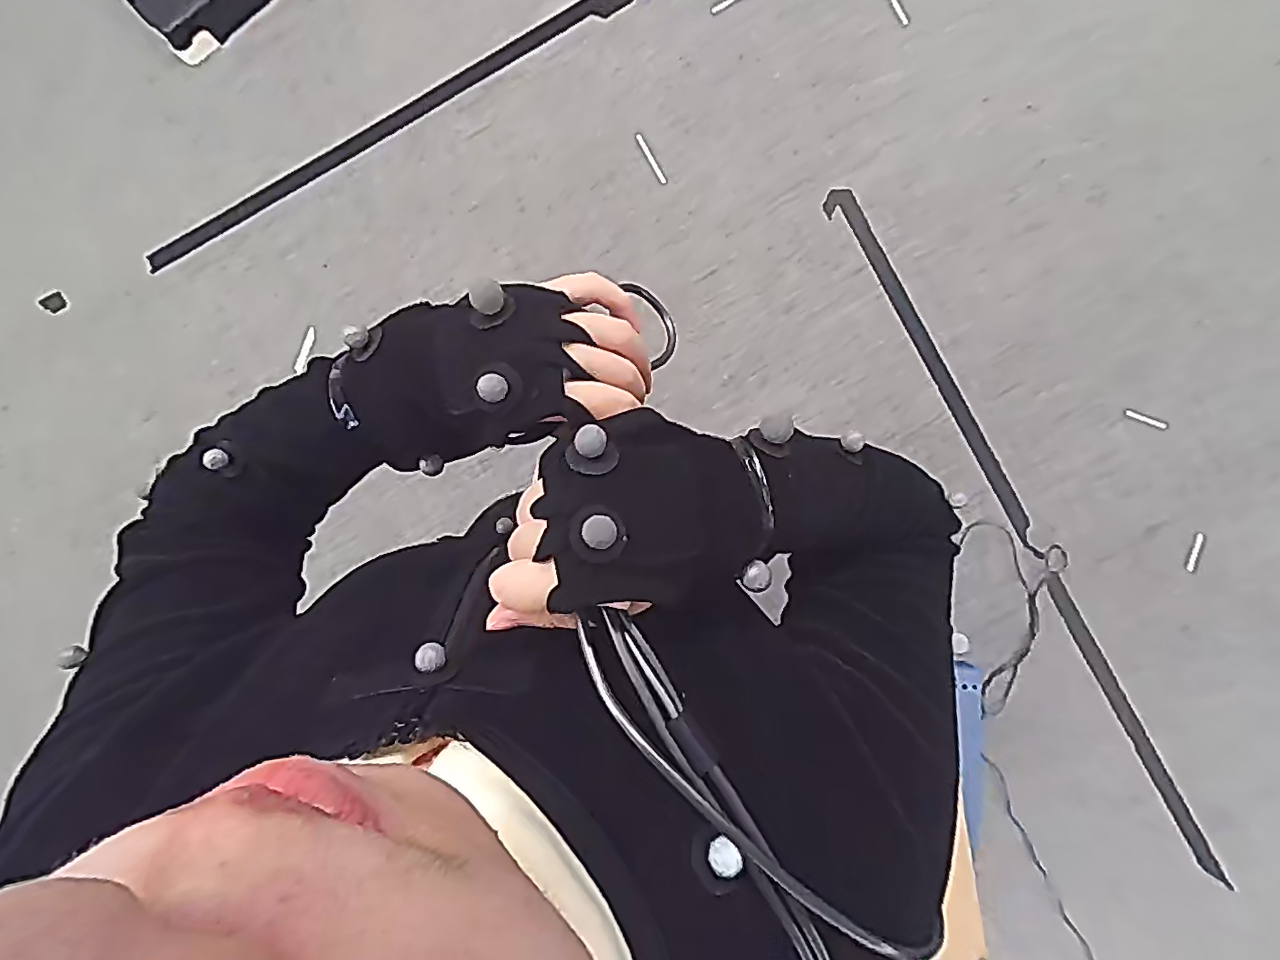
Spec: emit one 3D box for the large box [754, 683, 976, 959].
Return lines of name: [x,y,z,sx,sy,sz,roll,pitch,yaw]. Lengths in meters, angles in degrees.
large box: [0.462,0.719,1.181,0.320,0.320,0.408,-9,92,0]
